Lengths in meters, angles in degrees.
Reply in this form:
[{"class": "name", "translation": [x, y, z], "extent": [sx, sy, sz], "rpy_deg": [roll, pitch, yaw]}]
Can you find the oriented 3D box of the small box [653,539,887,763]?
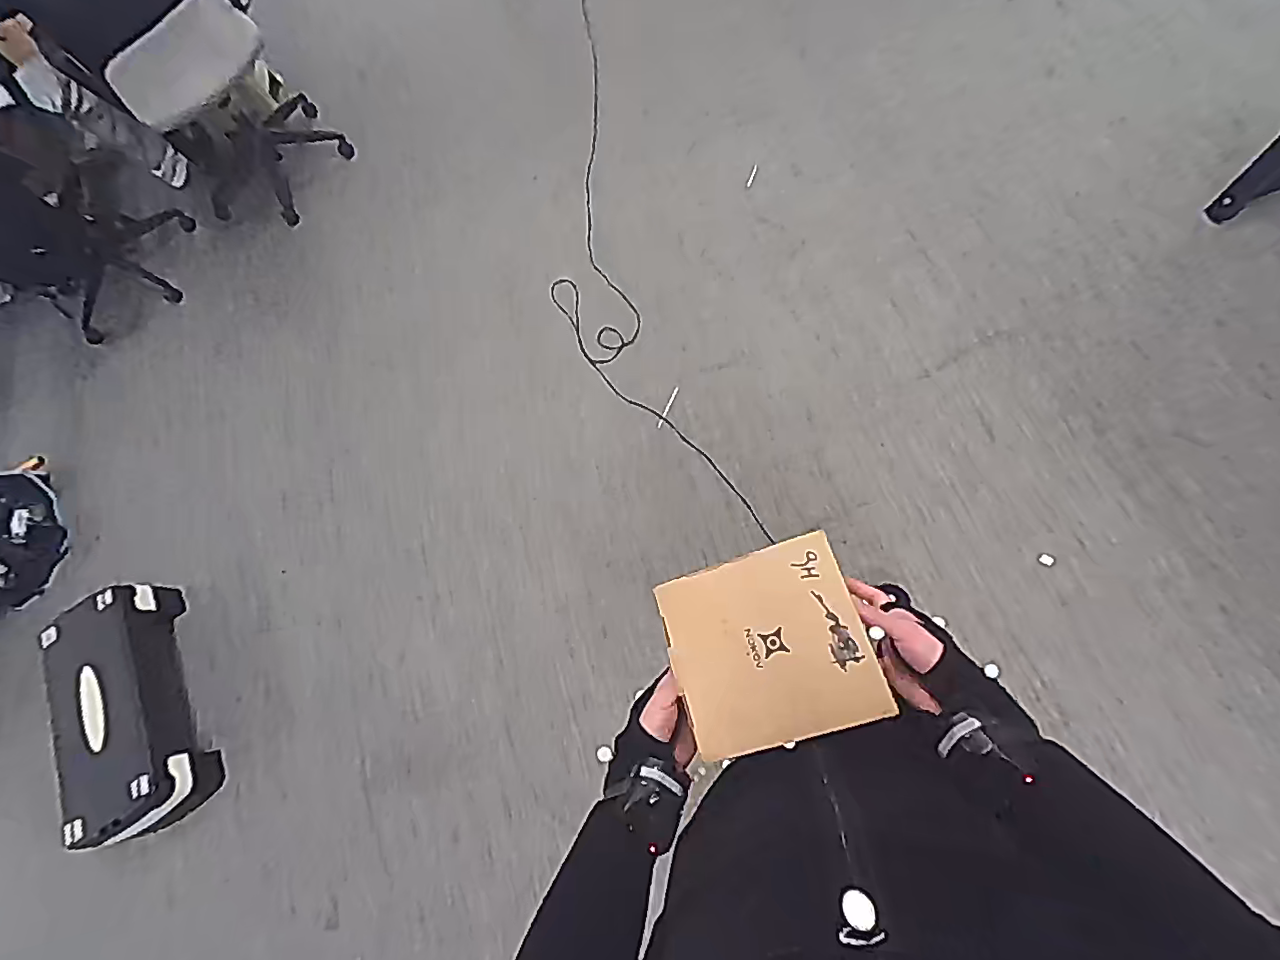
[{"class": "small box", "translation": [0.135, 0.177, 0.564], "extent": [0.179, 0.176, 0.168], "rpy_deg": [-20, 69, 13]}]
